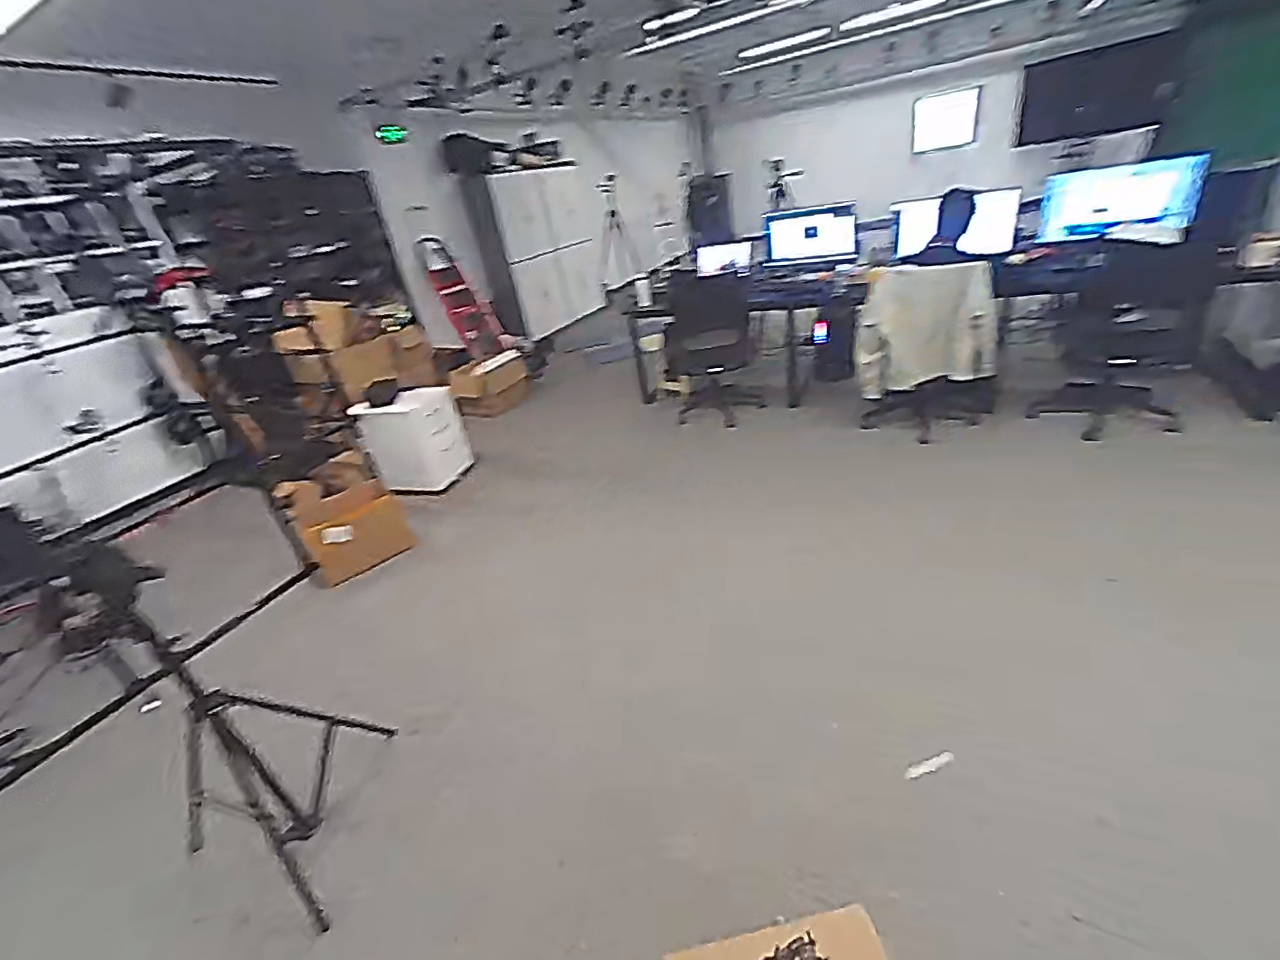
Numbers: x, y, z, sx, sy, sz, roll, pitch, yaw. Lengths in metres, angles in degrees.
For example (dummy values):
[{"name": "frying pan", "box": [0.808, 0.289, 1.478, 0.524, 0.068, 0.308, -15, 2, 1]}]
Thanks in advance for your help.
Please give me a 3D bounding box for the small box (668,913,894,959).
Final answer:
[{"name": "small box", "box": [0.120, 0.453, 0.373, 0.168, 0.176, 0.179, -11, 30, -3]}]
